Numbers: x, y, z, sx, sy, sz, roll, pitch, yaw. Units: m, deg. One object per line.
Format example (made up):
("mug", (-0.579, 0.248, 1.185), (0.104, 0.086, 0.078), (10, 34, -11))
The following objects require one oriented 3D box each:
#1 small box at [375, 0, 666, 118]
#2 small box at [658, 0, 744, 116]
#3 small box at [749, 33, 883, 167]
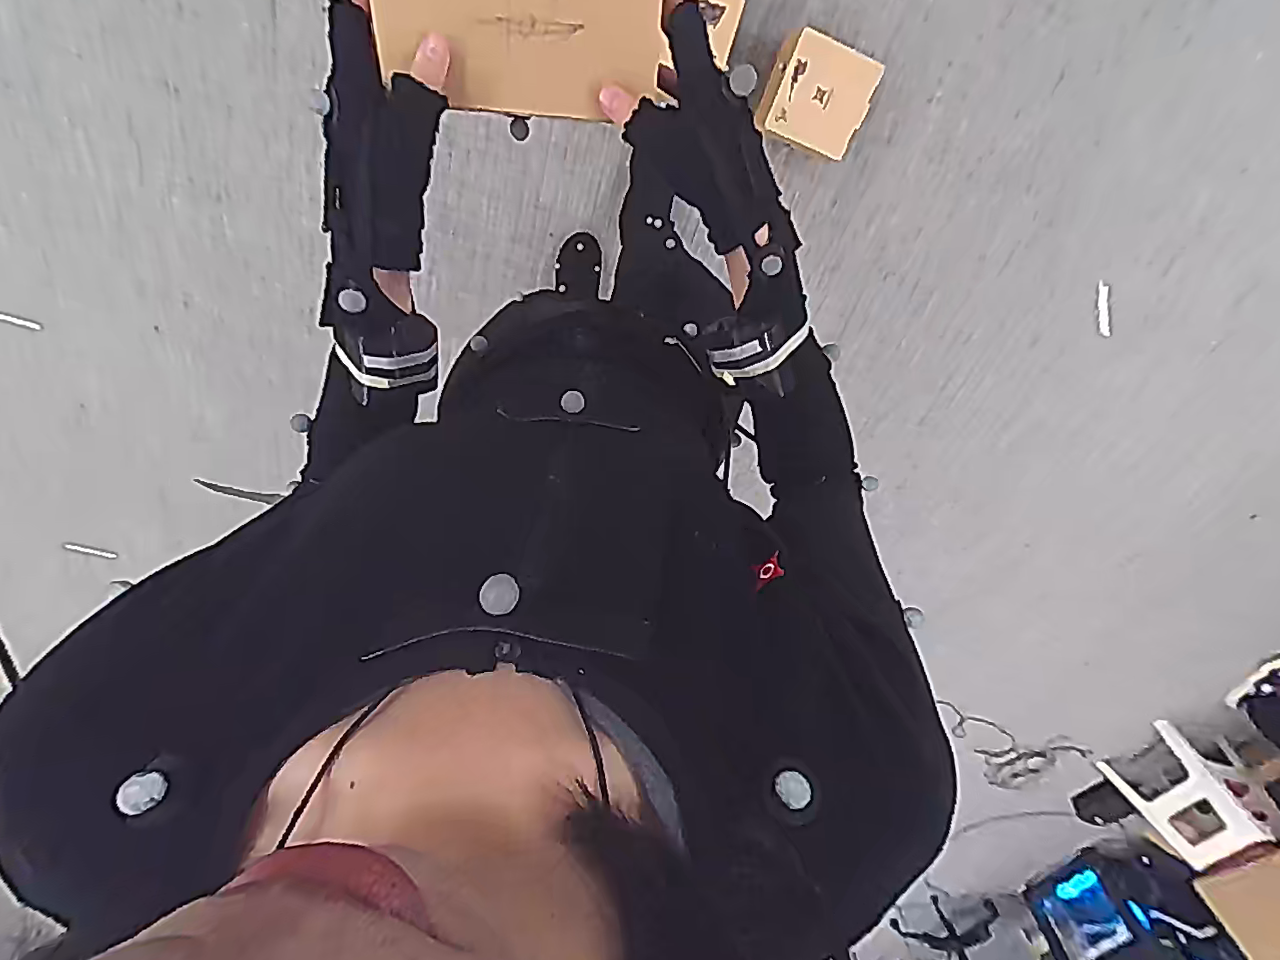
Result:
("small box", (-0.072, -0.347, 0.351), (0.168, 0.176, 0.179), (0, 124, -7))
("small box", (0.081, -0.833, 1.047), (0.168, 0.176, 0.179), (15, 122, -9))
("small box", (0.344, -0.763, 1.095), (0.179, 0.176, 0.168), (17, 121, -12))
